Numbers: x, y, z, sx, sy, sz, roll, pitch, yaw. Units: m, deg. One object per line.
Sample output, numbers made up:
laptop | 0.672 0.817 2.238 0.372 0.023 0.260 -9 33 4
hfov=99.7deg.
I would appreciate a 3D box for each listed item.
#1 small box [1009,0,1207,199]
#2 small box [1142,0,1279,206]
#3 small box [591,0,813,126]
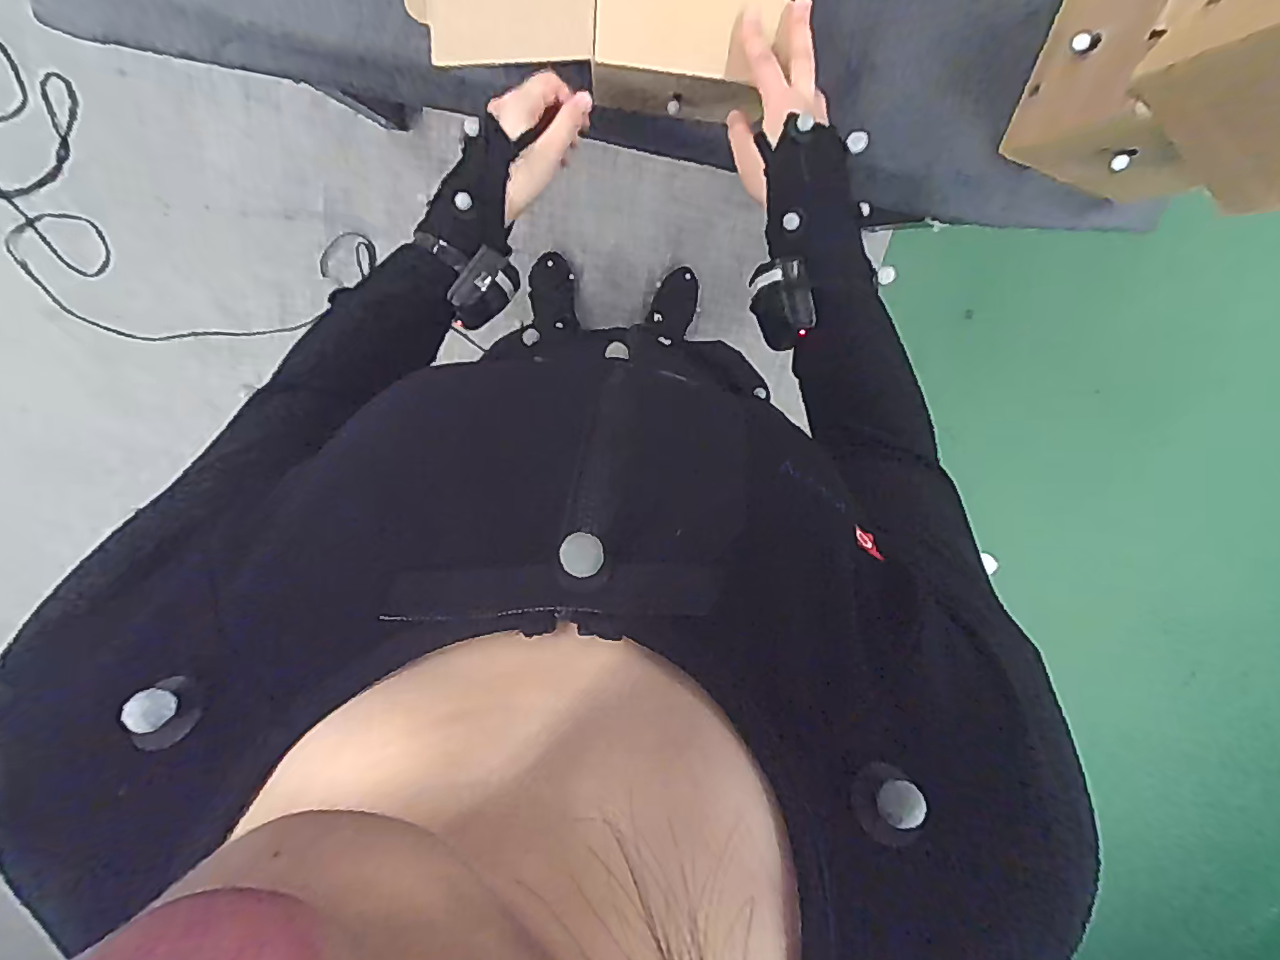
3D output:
small box | 0.523 -0.398 0.536 0.179 0.176 0.168 14 108 -9
small box | 0.536 -0.326 0.389 0.179 0.176 0.168 35 103 -16
small box | 0.051 -0.437 0.488 0.179 0.176 0.168 5 114 -4
